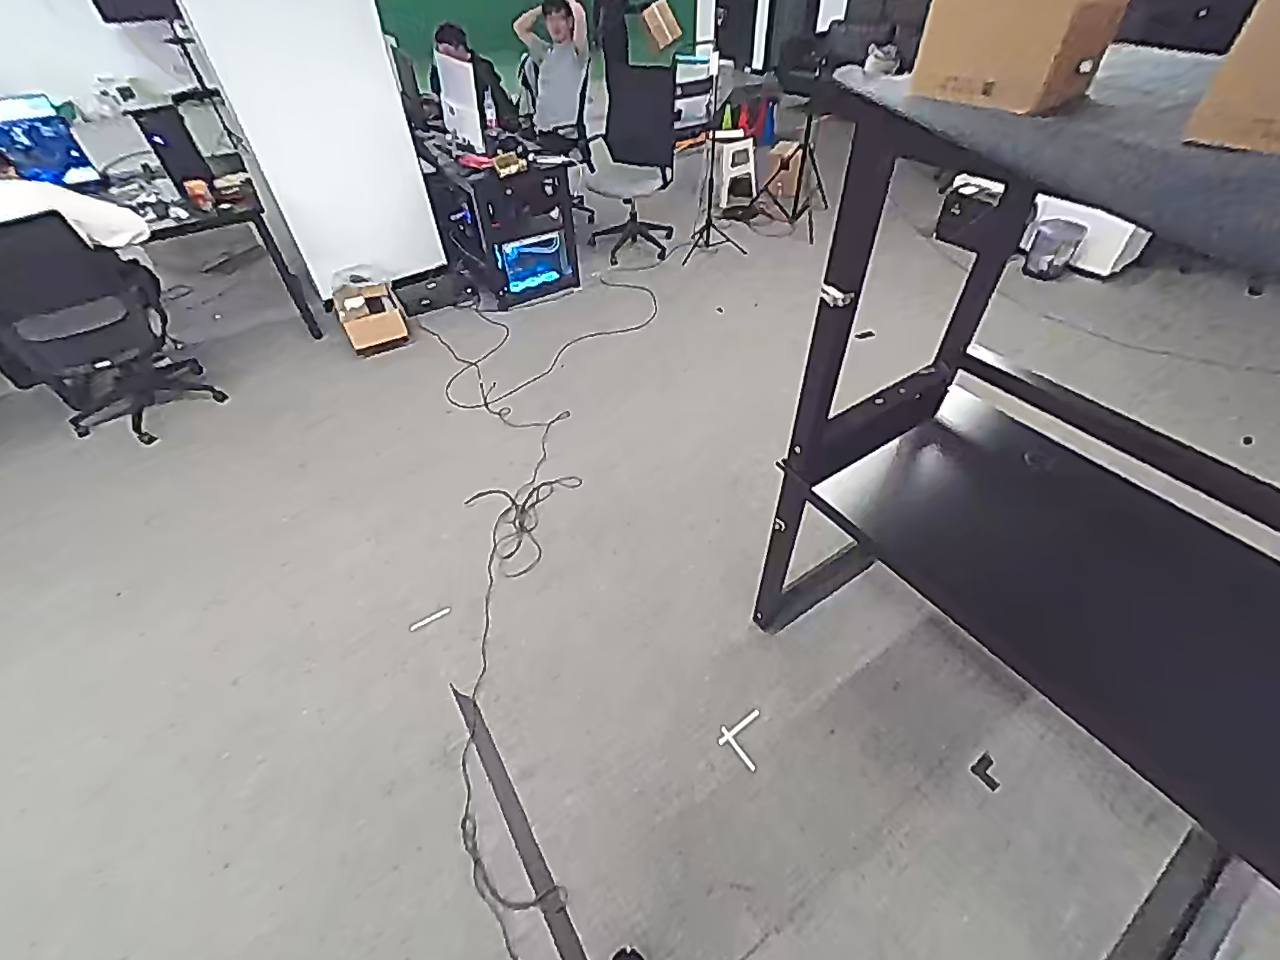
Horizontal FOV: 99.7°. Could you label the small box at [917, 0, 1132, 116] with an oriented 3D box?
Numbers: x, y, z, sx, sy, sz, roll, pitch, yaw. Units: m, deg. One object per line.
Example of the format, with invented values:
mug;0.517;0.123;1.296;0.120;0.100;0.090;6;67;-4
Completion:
small box;0.475;-0.571;0.662;0.179;0.176;0.168;-33;53;-26
